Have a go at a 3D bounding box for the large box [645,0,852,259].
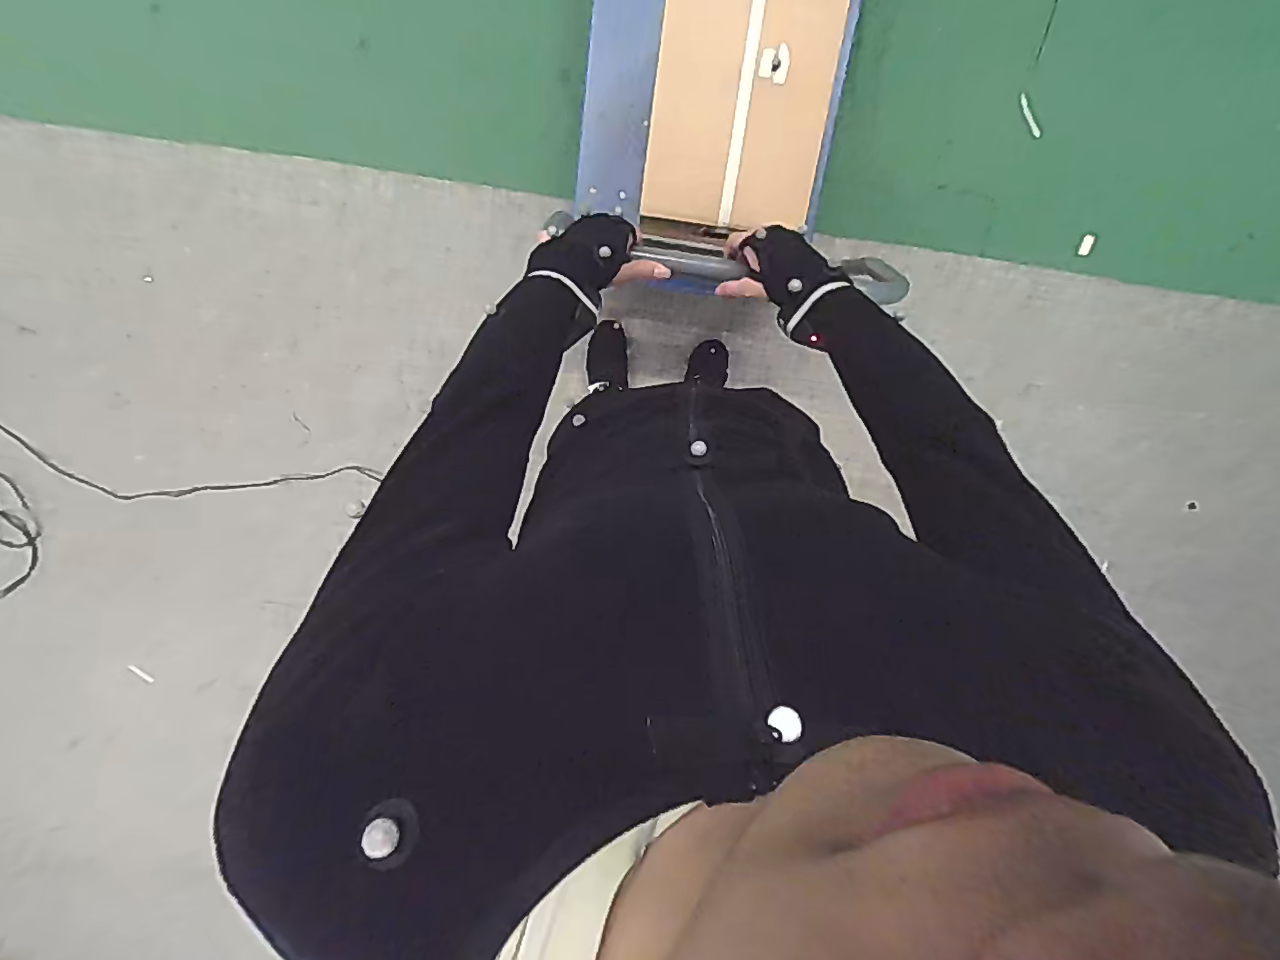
[{"bbox_3d":[0.184,-0.694,1.094,0.320,0.320,0.408,7,105,-3],"label":"large box"}]
